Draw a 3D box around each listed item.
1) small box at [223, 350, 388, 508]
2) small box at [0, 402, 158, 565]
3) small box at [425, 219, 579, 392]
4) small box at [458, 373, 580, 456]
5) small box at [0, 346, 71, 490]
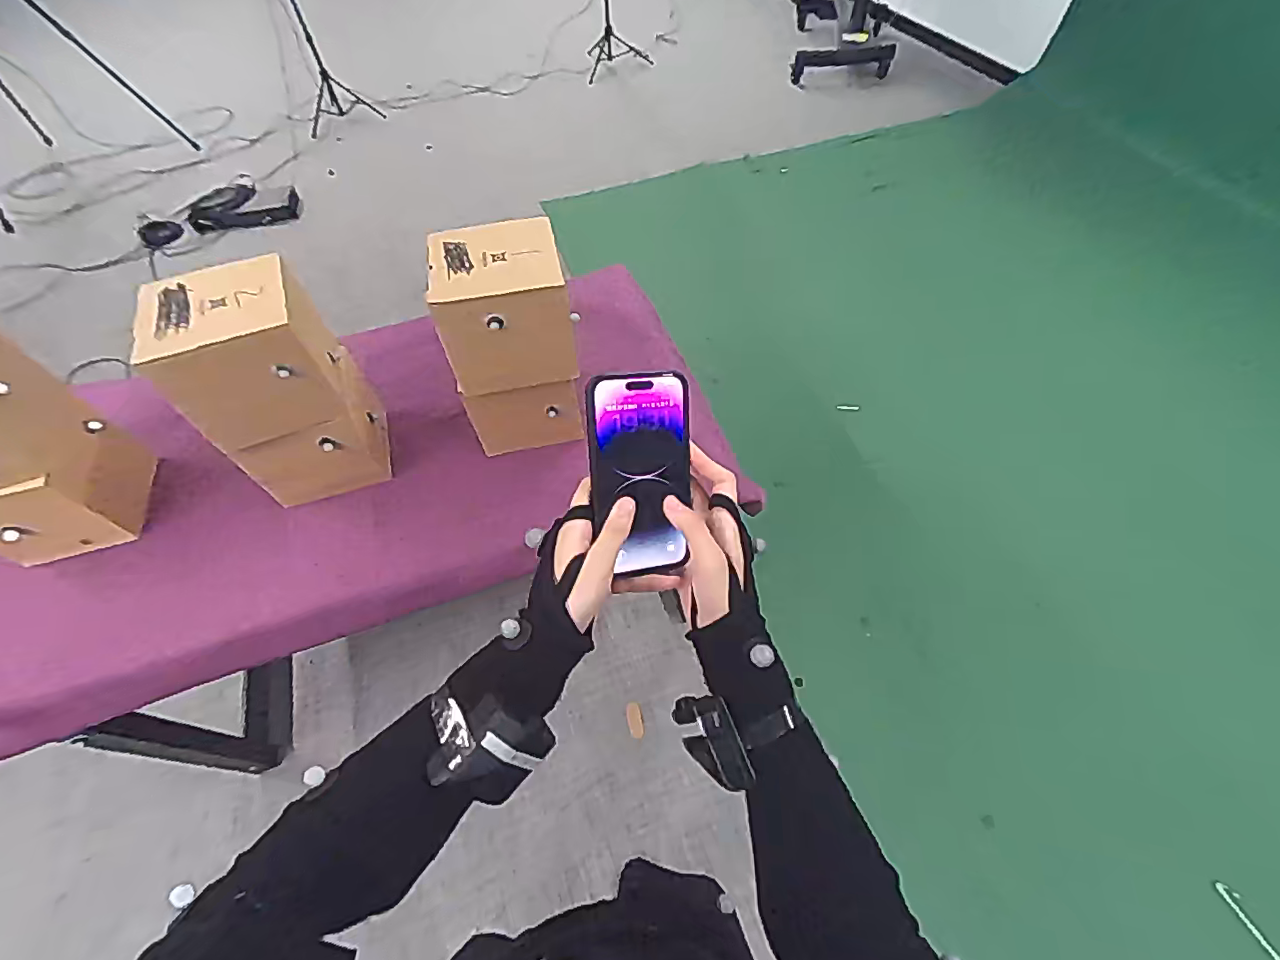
[{"bbox_3d":[-0.530,-0.080,0.886,0.179,0.176,0.168,-17,56,-9],"label":"small box"},{"bbox_3d":[-0.906,0.014,0.839,0.168,0.176,0.179,-16,56,-8],"label":"small box"},{"bbox_3d":[-0.196,-0.248,0.789,0.179,0.176,0.168,-11,55,-6],"label":"small box"},{"bbox_3d":[-0.202,-0.164,0.931,0.179,0.176,0.168,-12,55,-4],"label":"small box"},{"bbox_3d":[-0.915,-0.086,0.709,0.168,0.176,0.179,-20,57,-12],"label":"small box"}]
